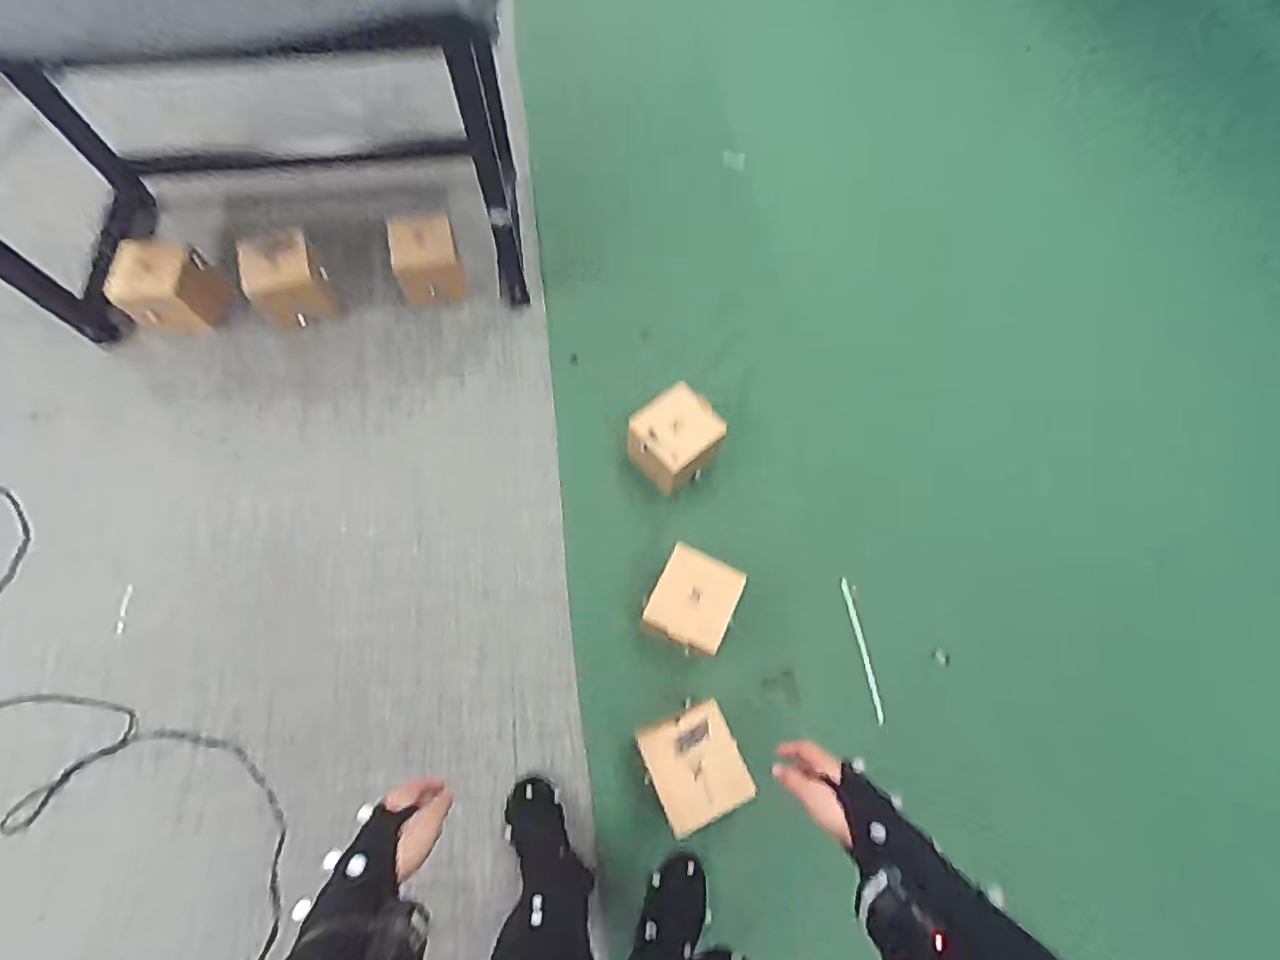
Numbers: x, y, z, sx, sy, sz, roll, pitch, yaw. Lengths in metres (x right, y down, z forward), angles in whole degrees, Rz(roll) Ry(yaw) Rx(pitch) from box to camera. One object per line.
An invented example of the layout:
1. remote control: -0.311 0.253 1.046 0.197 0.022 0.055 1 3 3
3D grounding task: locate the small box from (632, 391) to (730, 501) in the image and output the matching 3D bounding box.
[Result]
1. small box: 0.091 -0.079 1.337 0.179 0.176 0.168 -37 73 -17

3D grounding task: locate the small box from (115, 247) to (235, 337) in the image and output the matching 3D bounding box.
1. small box: -1.250 -0.504 1.472 0.168 0.176 0.179 -3 66 -3

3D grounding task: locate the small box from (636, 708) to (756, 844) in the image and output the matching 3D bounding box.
1. small box: 0.098 0.567 1.059 0.168 0.176 0.179 -22 70 -11

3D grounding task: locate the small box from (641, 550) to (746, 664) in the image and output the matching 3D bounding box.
1. small box: 0.111 0.285 1.181 0.168 0.176 0.179 25 68 8

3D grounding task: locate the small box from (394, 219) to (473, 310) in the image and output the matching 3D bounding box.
1. small box: -0.580 -0.601 1.534 0.168 0.176 0.179 -11 68 -7
